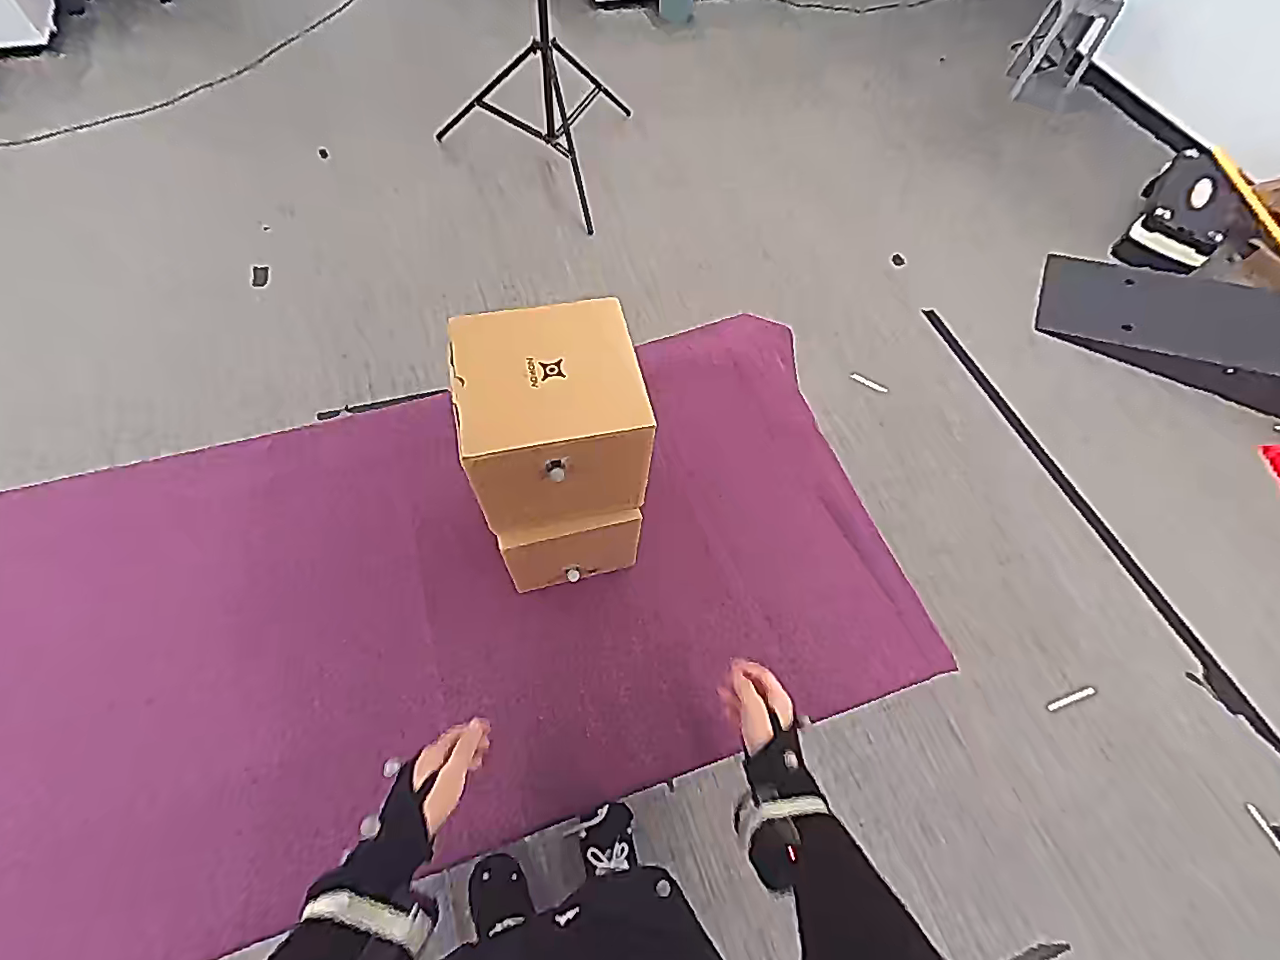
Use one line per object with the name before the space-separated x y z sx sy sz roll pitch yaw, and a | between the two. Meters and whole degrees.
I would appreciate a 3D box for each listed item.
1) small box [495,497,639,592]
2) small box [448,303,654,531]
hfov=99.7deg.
small box | -0.105 0.028 0.720 0.168 0.176 0.179 -12 64 -10
small box | -0.093 -0.061 0.584 0.179 0.176 0.168 -11 63 -9
